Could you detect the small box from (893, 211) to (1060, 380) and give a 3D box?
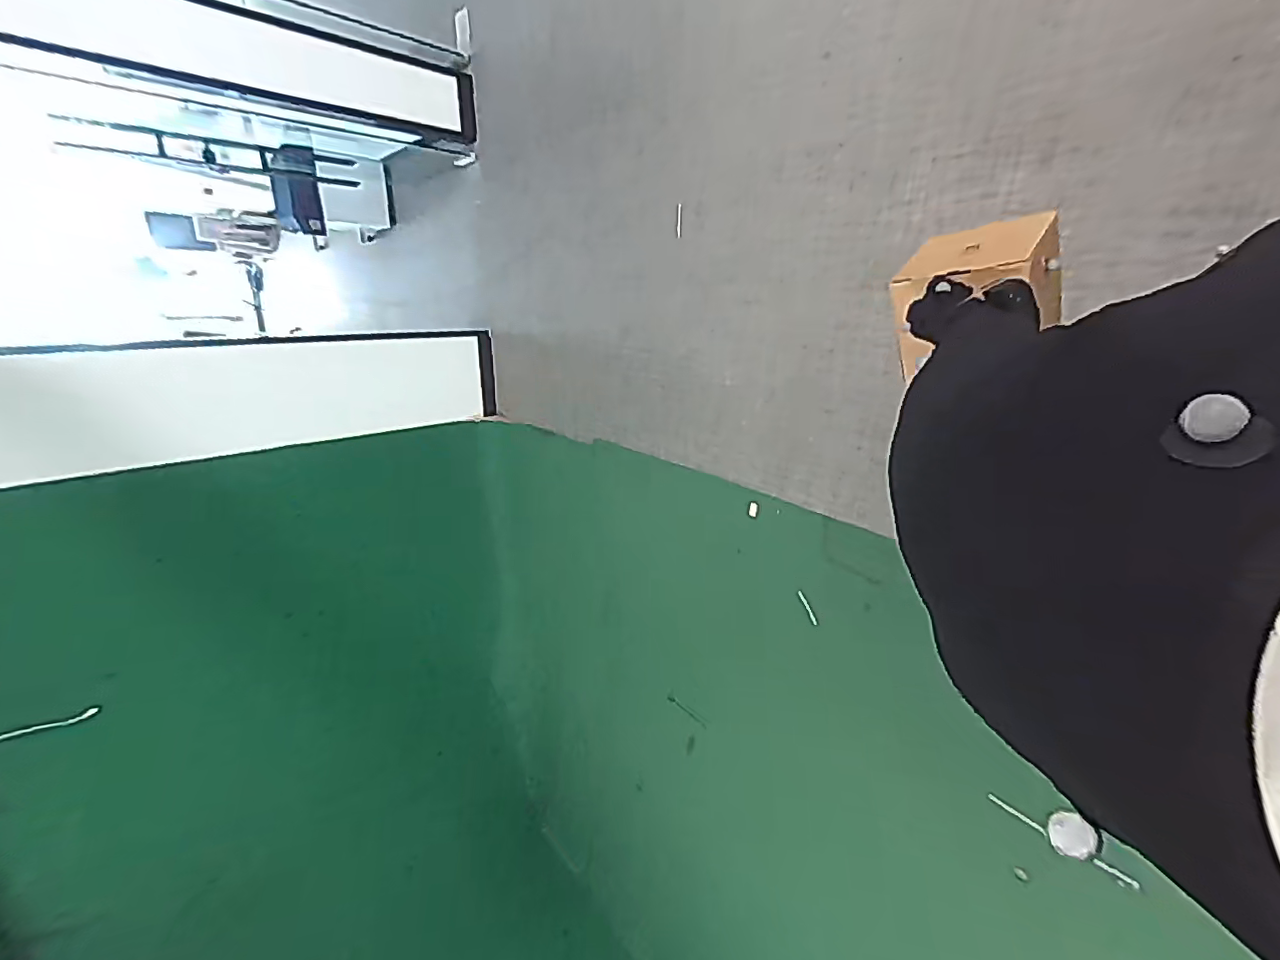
[{"bbox_3d":[0.497,-0.262,0.792,0.168,0.179,0.176,6,131,46],"label":"small box"}]
